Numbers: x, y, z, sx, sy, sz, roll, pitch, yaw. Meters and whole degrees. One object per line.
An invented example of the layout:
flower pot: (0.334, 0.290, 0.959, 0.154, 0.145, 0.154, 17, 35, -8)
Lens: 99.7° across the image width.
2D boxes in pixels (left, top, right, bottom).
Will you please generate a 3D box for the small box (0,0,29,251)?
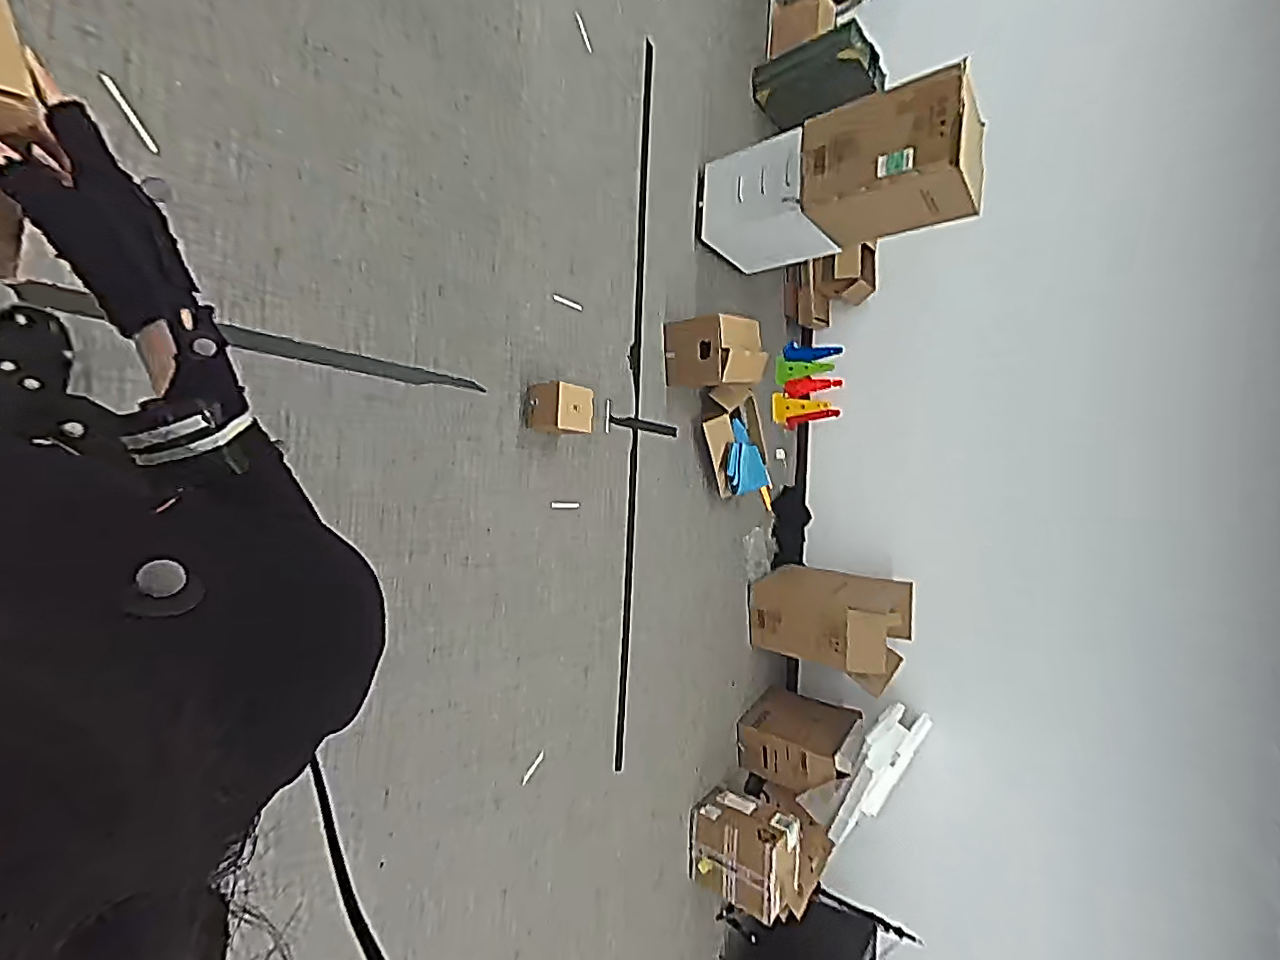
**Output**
small box: (-0.499, -0.264, 0.313, 0.168, 0.176, 0.179, -13, 76, -56)

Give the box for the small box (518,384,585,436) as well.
small box: (-0.326, -0.253, 1.999, 0.179, 0.176, 0.168, 4, 87, -52)
